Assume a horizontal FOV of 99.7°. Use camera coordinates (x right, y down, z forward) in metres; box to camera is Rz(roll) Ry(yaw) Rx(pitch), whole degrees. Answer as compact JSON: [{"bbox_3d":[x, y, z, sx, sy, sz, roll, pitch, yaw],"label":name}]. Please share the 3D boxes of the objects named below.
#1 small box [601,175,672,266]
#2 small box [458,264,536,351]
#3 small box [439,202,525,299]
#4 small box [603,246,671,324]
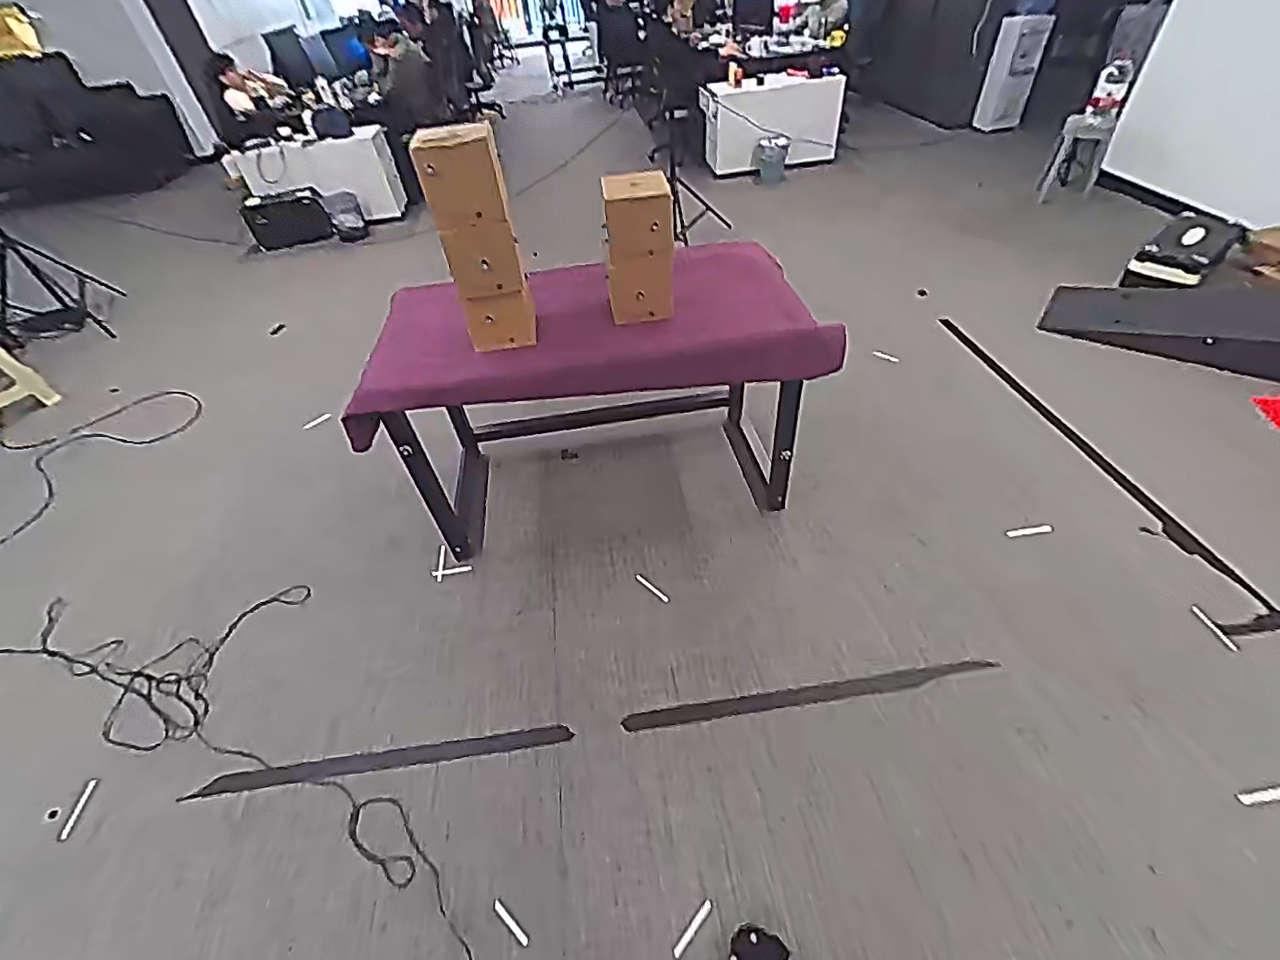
[{"bbox_3d":[-0.009,-0.673,1.414,0.168,0.176,0.179,-7,44,-2],"label":"small box"},{"bbox_3d":[-0.385,-0.466,1.485,0.168,0.176,0.179,-9,44,-3],"label":"small box"},{"bbox_3d":[-0.392,-0.567,1.354,0.168,0.176,0.179,-12,45,-6],"label":"small box"},{"bbox_3d":[-0.006,-0.554,1.525,0.168,0.176,0.179,-8,45,-2],"label":"small box"}]
